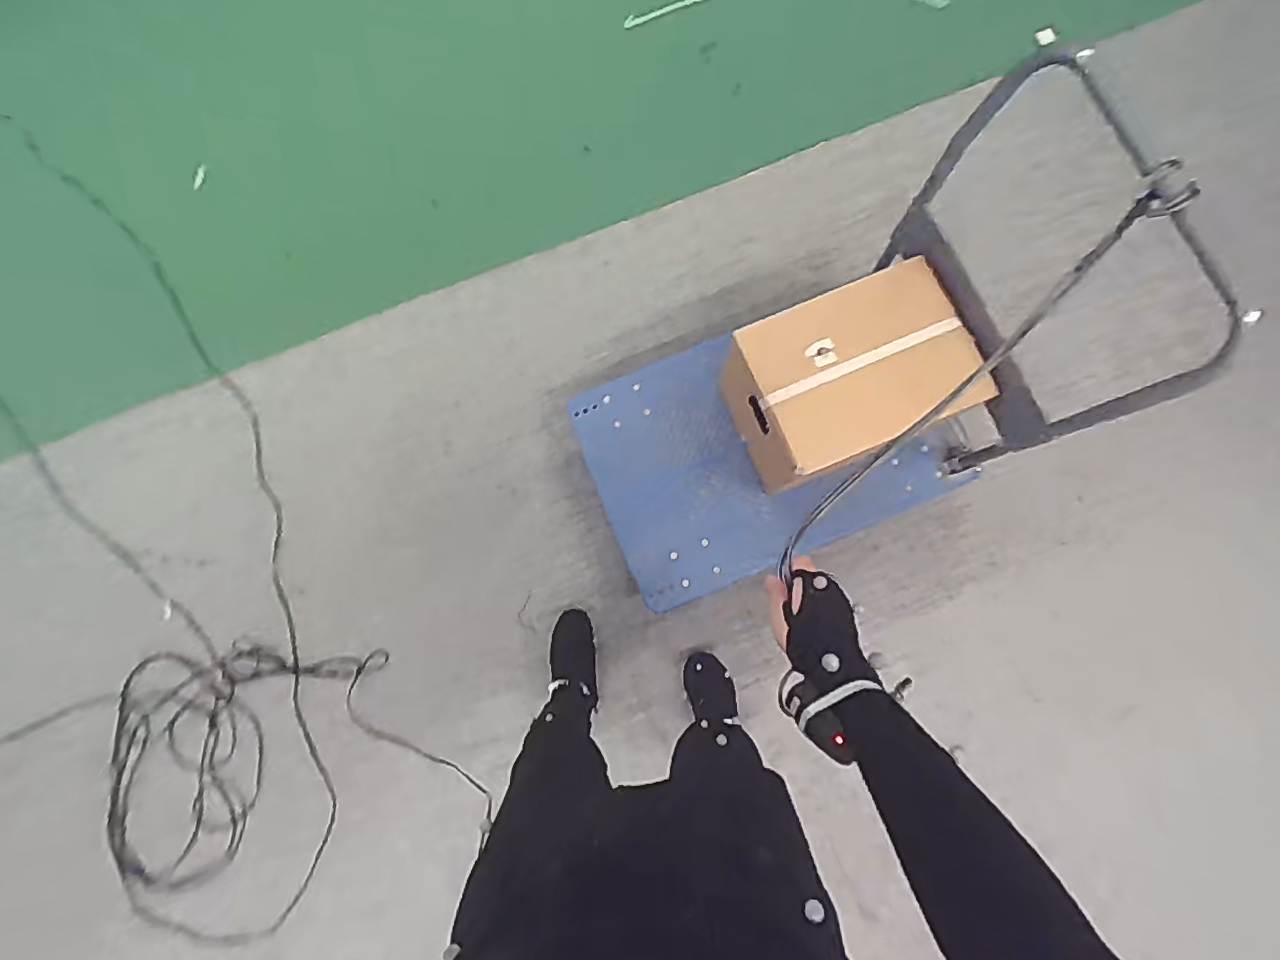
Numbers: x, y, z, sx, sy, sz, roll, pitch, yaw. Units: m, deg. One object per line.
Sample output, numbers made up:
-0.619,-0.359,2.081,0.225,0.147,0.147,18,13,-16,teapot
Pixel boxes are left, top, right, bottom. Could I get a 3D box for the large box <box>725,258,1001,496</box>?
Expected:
0.436,-0.192,1.158,0.408,0.320,0.320,-23,81,0,large box
